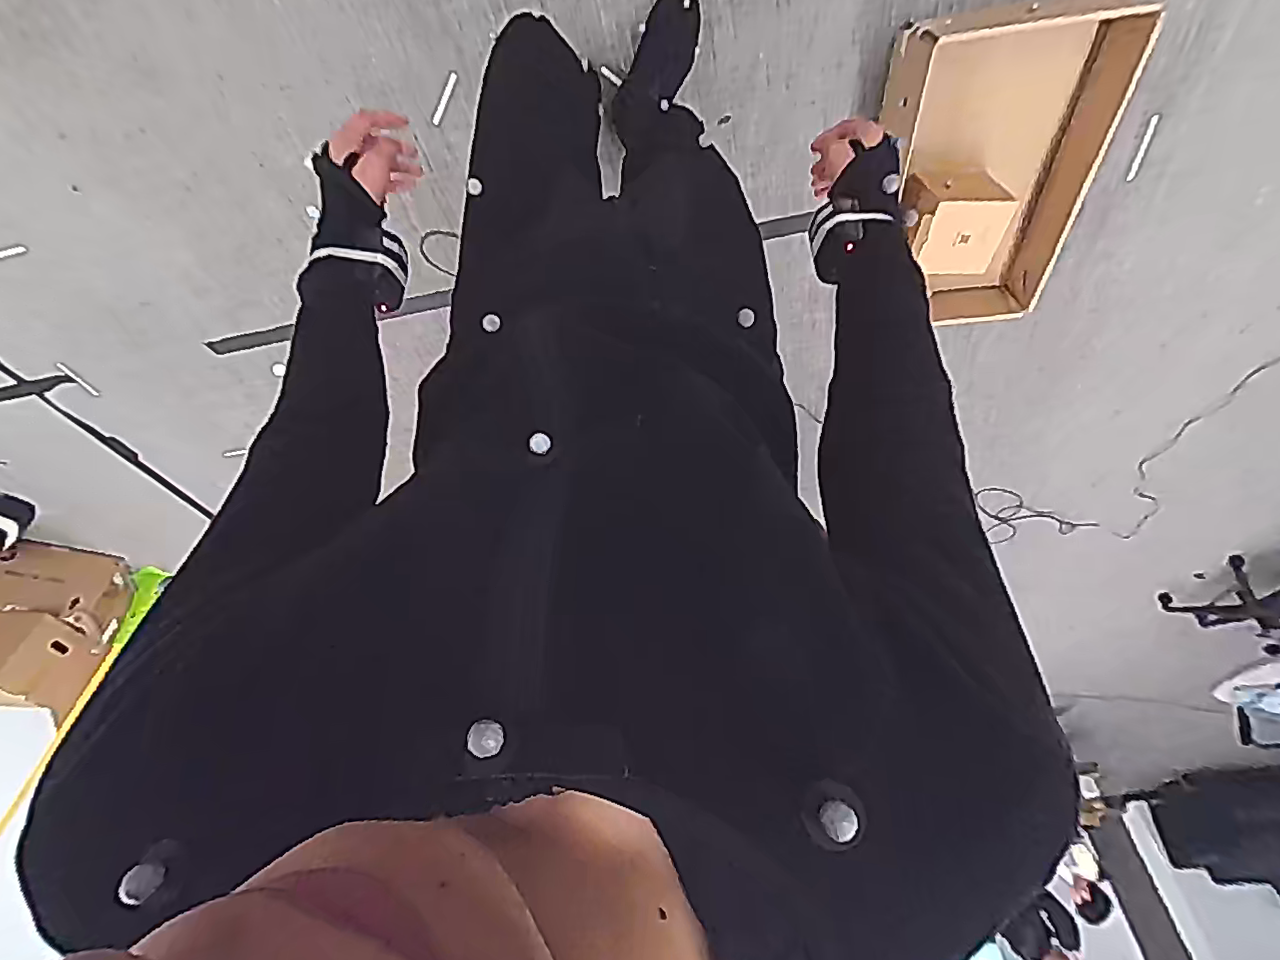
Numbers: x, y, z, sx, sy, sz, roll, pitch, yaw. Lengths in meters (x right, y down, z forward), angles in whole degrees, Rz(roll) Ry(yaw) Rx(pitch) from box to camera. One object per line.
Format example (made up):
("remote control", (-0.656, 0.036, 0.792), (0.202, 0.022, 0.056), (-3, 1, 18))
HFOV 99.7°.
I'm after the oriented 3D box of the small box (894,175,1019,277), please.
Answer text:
("small box", (0.722, -0.594, 1.262), (0.179, 0.176, 0.168), (1, 138, 0))
